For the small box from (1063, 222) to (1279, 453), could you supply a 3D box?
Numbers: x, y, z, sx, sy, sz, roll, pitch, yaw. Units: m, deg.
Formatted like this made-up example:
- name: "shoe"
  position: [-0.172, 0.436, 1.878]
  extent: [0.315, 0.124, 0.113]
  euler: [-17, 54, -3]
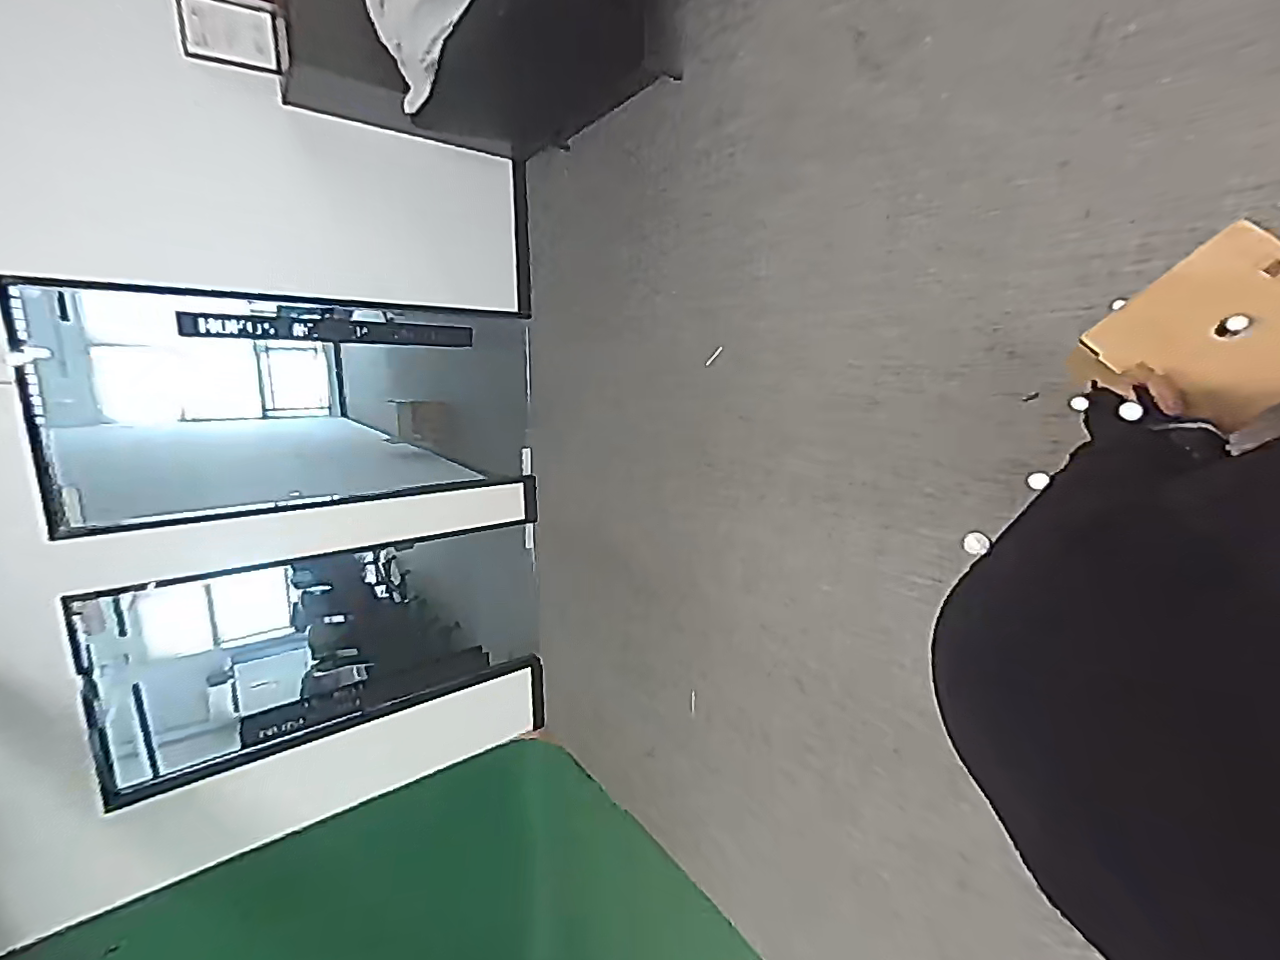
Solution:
- name: "small box"
  position: [0.641, -0.153, 0.617]
  extent: [0.176, 0.179, 0.168]
  euler: [-44, 66, 22]
